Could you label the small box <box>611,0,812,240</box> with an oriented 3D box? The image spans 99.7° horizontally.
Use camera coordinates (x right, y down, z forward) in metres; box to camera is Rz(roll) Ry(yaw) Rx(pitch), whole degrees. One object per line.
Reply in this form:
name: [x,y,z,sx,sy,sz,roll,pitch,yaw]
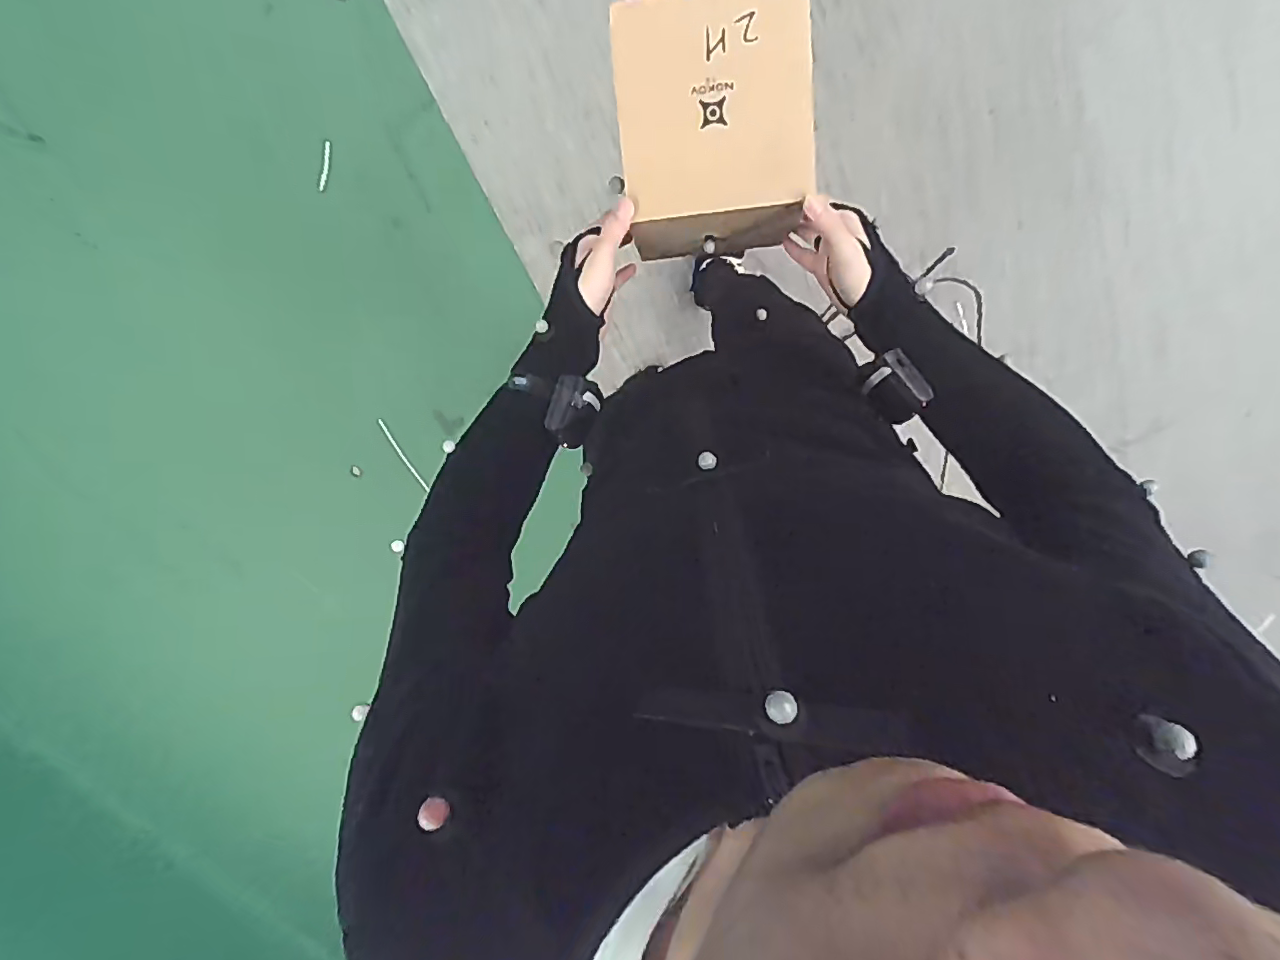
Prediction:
small box: [0.070,-0.349,0.534,0.168,0.176,0.179,-4,100,6]
